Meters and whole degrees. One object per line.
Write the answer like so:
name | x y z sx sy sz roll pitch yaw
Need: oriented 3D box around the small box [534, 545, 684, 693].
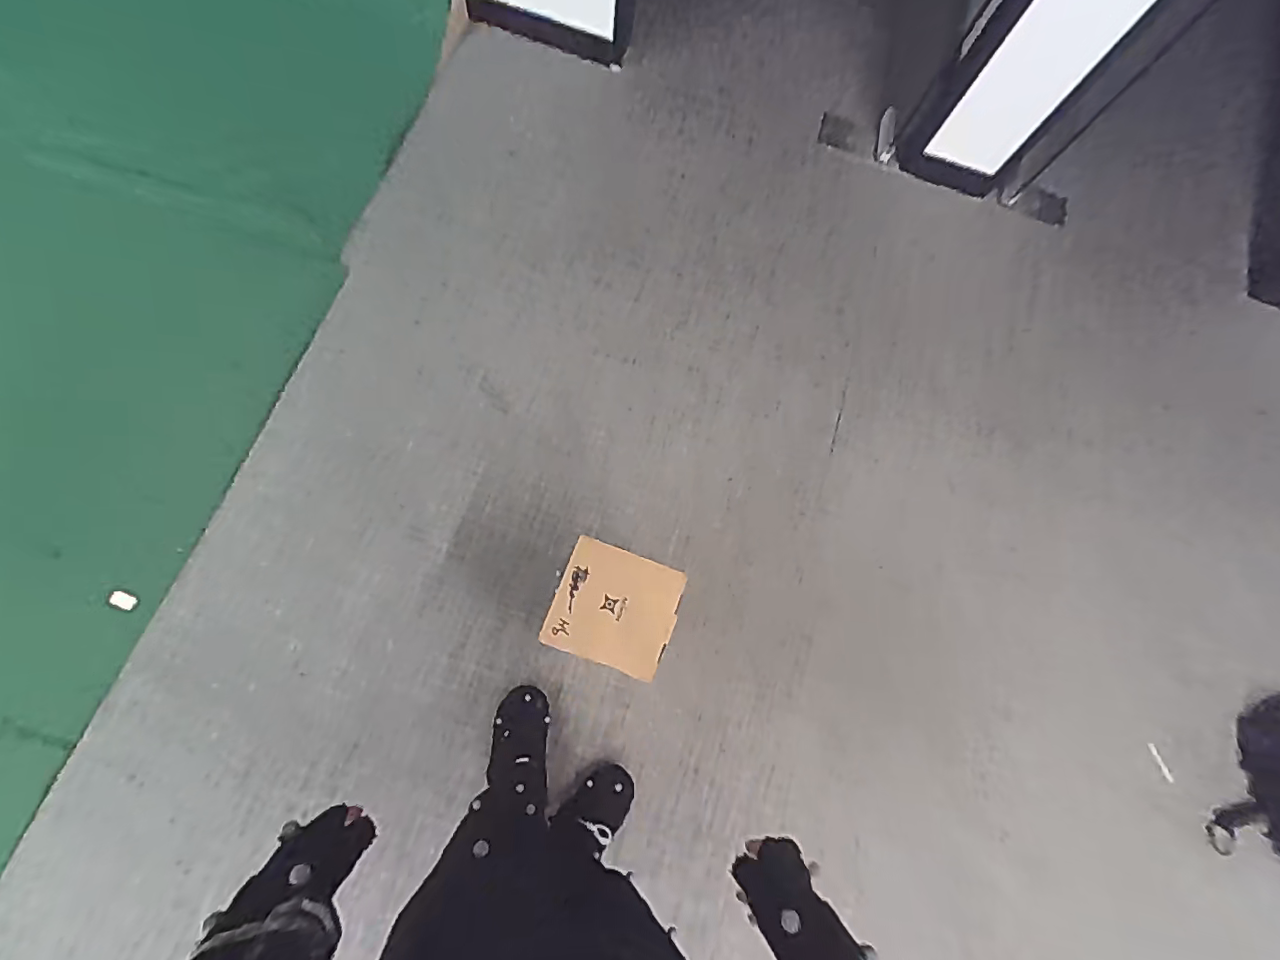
small box | -0.050 0.220 0.862 0.179 0.176 0.168 22 72 0
